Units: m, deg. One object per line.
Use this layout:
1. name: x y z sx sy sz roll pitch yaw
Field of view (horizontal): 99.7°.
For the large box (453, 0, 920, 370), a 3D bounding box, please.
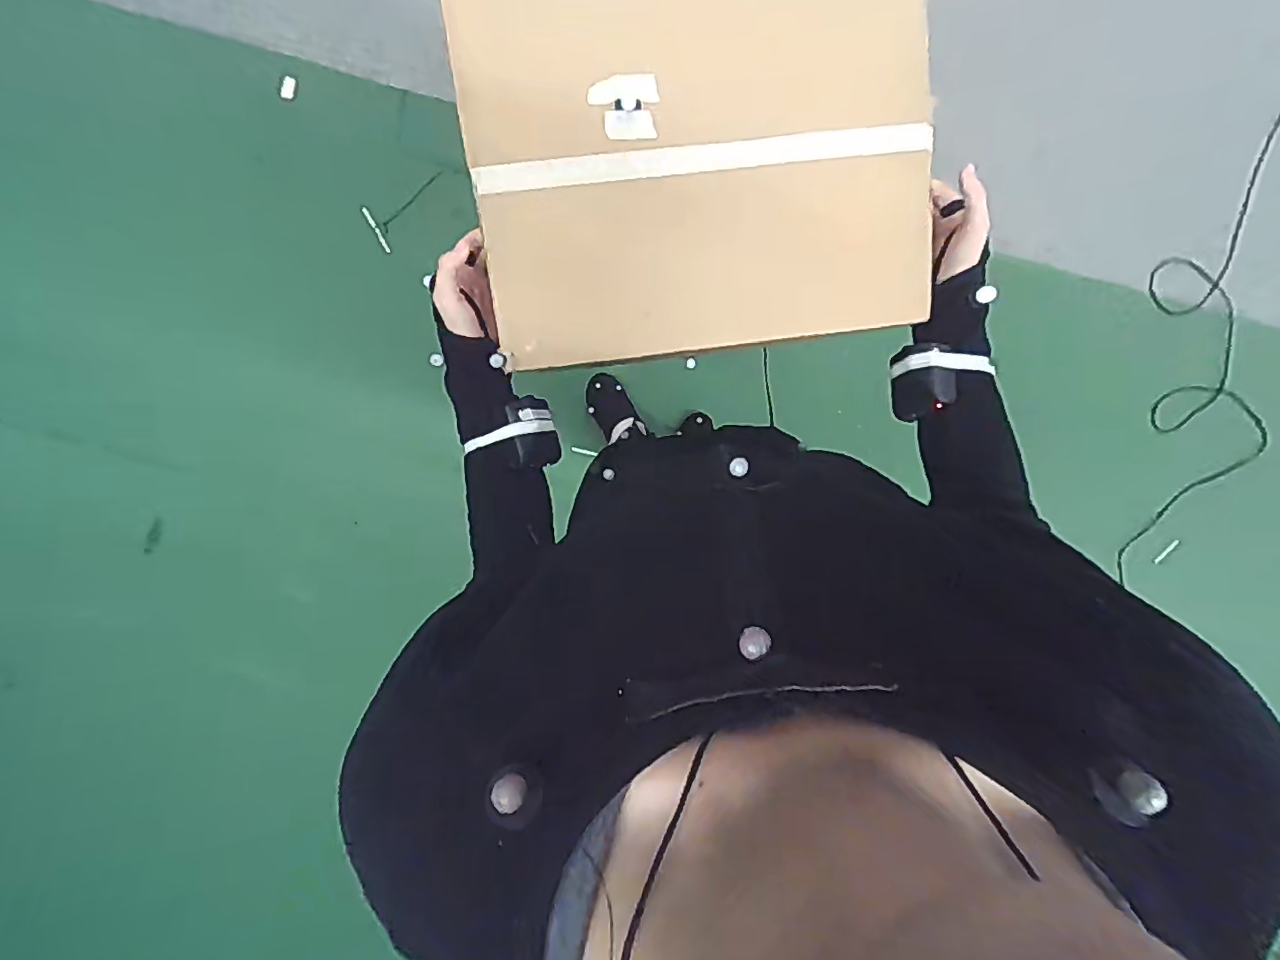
1. large box: 0.047 -0.308 0.627 0.408 0.320 0.320 -7 101 -4
